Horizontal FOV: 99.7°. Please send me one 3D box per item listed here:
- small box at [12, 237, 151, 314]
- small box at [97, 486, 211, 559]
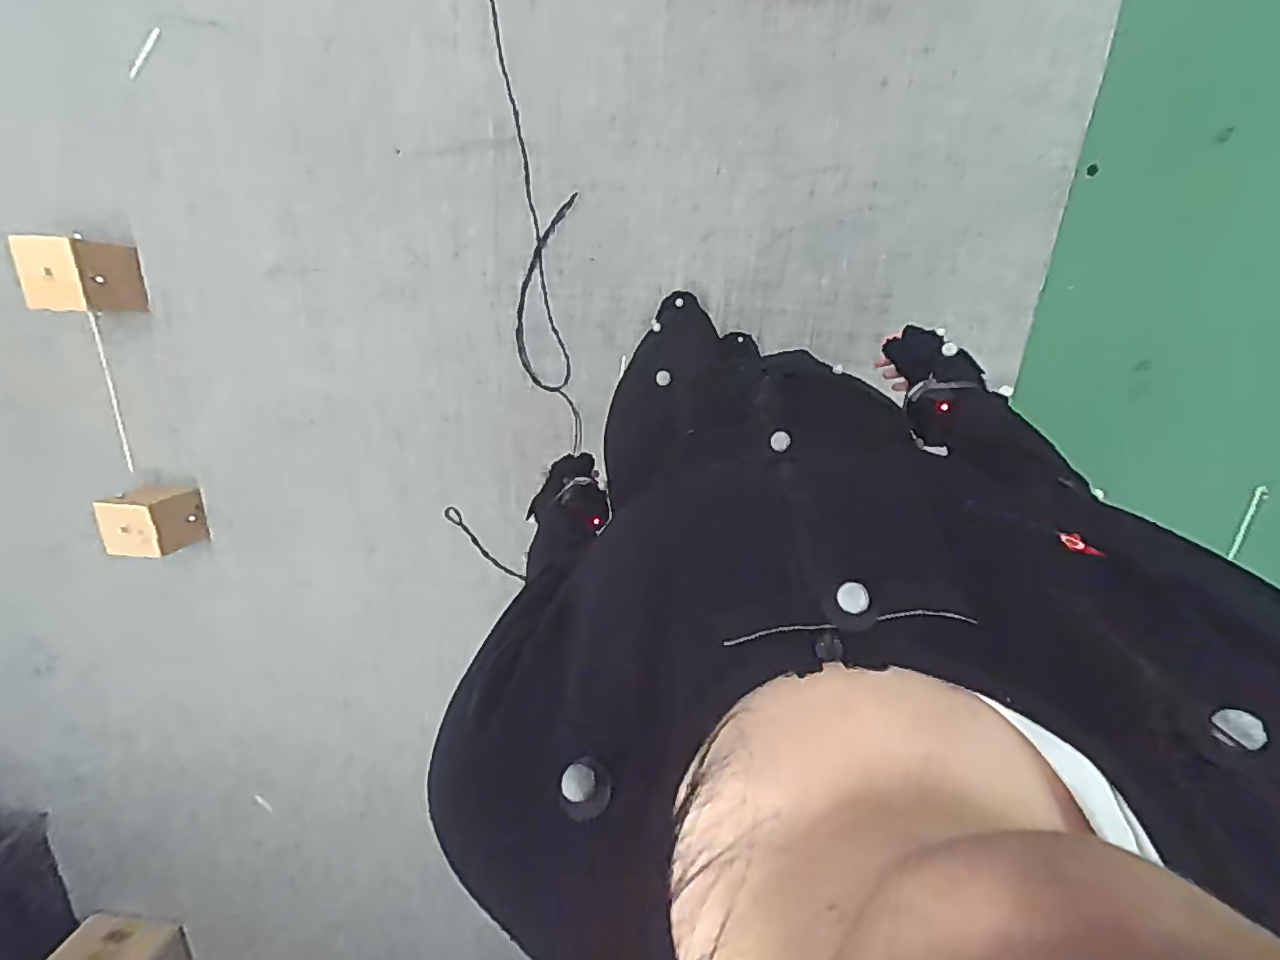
[{"bbox_3d":[-1.443,-0.529,1.411,0.168,0.176,0.179,3,109,4],"label":"small box"},{"bbox_3d":[-1.450,0.123,1.623,0.179,0.176,0.168,3,108,5],"label":"small box"}]
